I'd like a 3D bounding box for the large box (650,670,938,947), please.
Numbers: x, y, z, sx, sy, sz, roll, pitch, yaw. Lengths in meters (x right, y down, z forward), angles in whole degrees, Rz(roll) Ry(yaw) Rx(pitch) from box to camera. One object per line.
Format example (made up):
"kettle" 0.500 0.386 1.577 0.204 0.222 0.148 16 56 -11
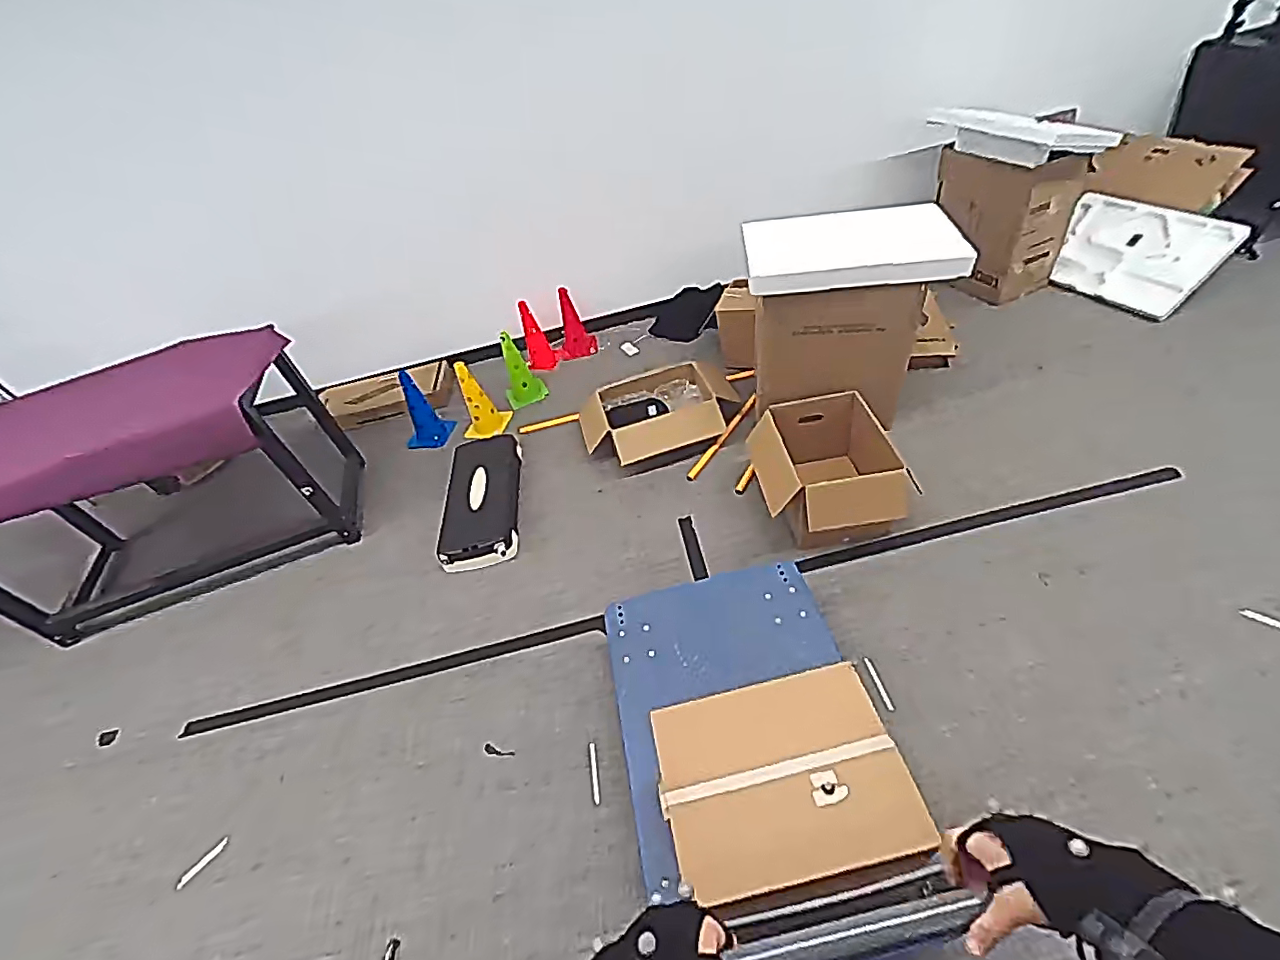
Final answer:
"large box" 0.258 0.618 1.021 0.408 0.320 0.320 -13 44 -1
